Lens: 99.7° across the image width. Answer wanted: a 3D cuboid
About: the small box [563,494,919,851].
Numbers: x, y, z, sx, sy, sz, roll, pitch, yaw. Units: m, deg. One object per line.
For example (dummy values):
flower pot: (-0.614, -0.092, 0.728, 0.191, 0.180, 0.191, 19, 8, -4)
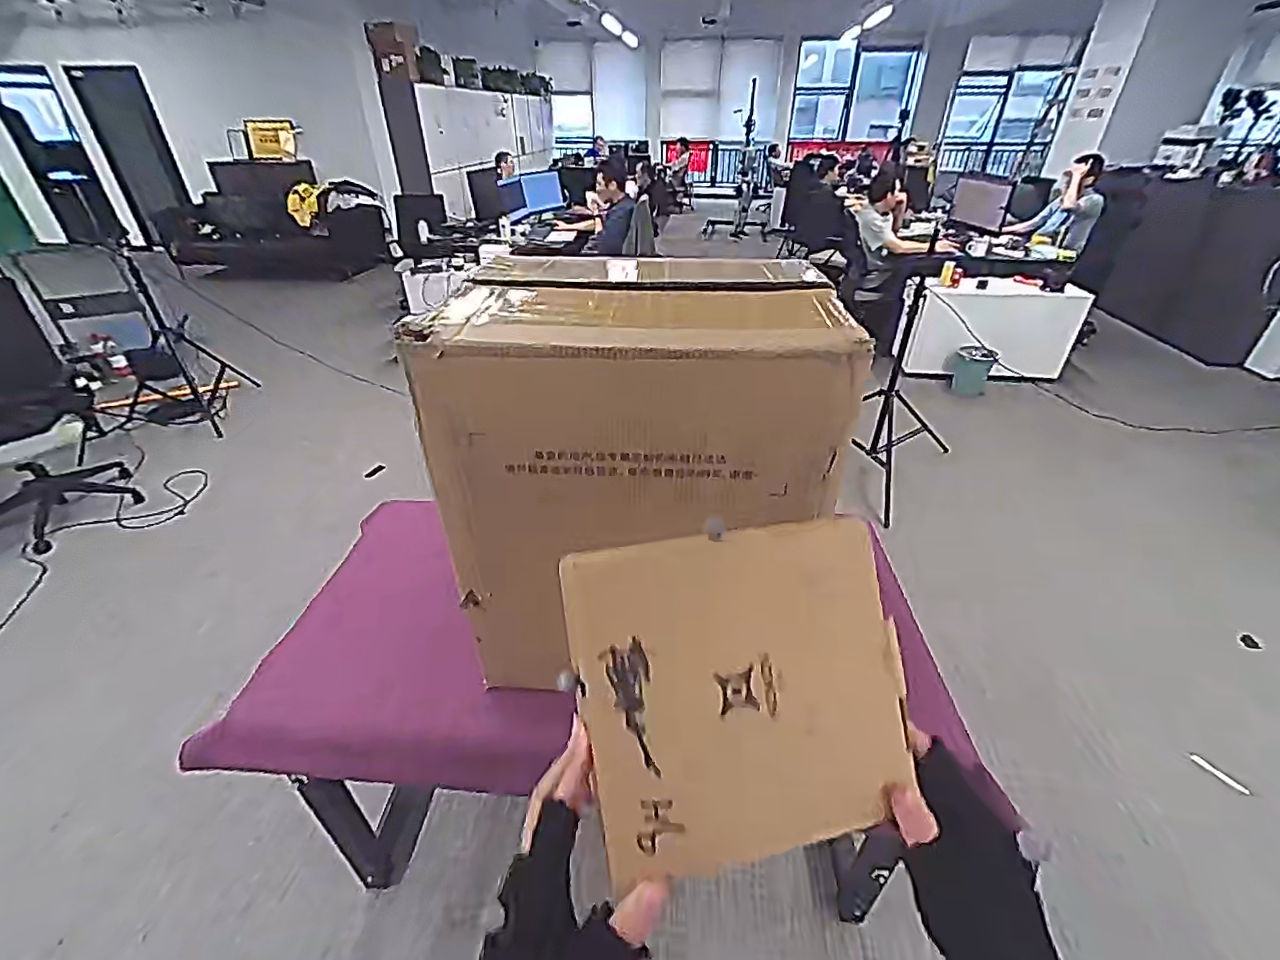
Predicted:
small box: (0.047, 0.106, 0.371, 0.179, 0.168, 0.176, -6, -8, -12)
